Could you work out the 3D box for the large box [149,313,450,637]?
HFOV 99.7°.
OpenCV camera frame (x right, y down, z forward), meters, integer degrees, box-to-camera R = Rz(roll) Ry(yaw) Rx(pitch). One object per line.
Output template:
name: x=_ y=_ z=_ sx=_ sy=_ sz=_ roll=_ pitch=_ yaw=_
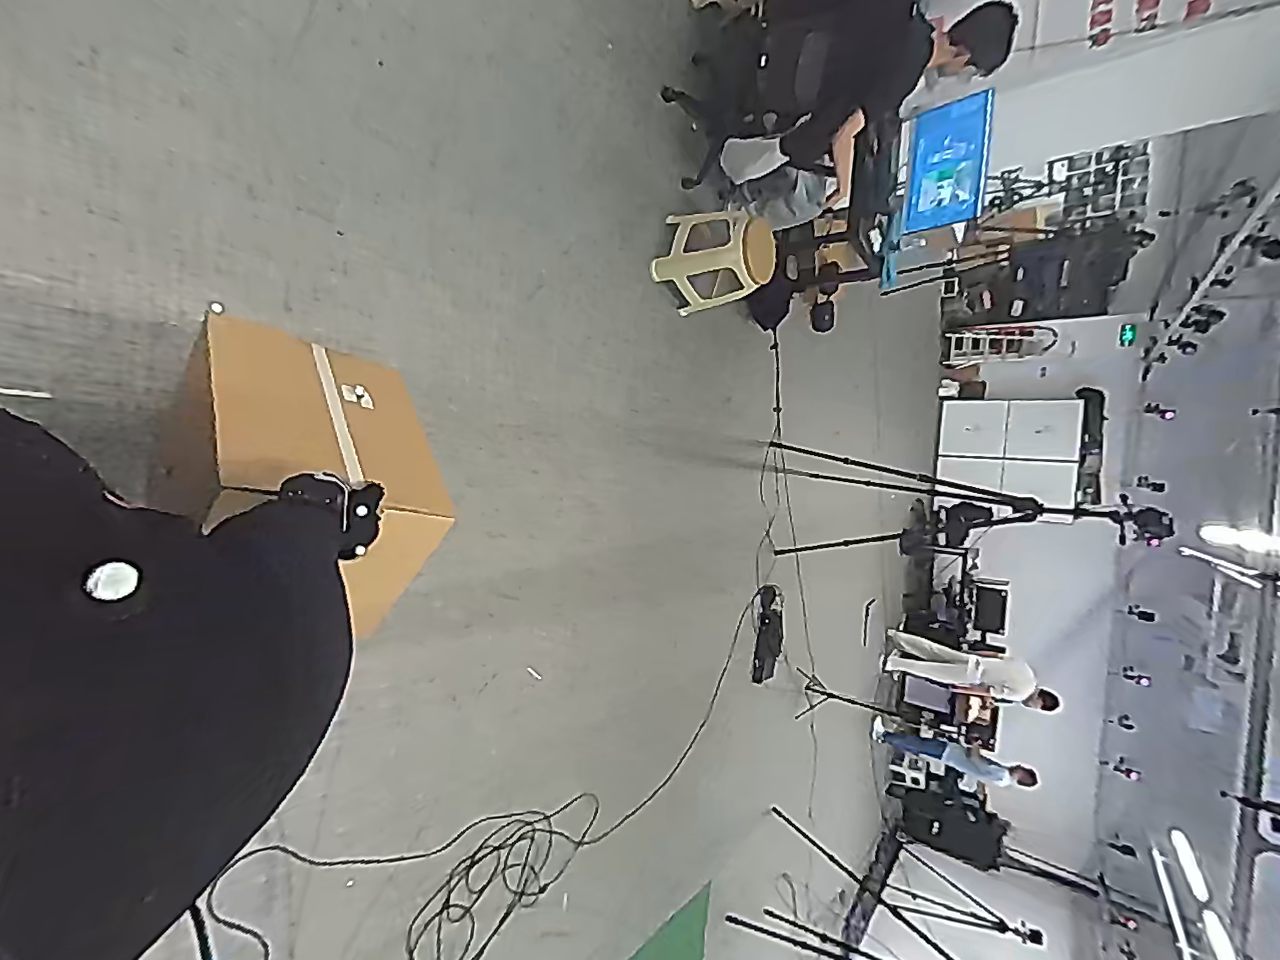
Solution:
large box: x=-0.585 y=0.002 z=0.910 sx=0.320 sy=0.408 sz=0.320 roll=-49 pitch=144 yaw=19
